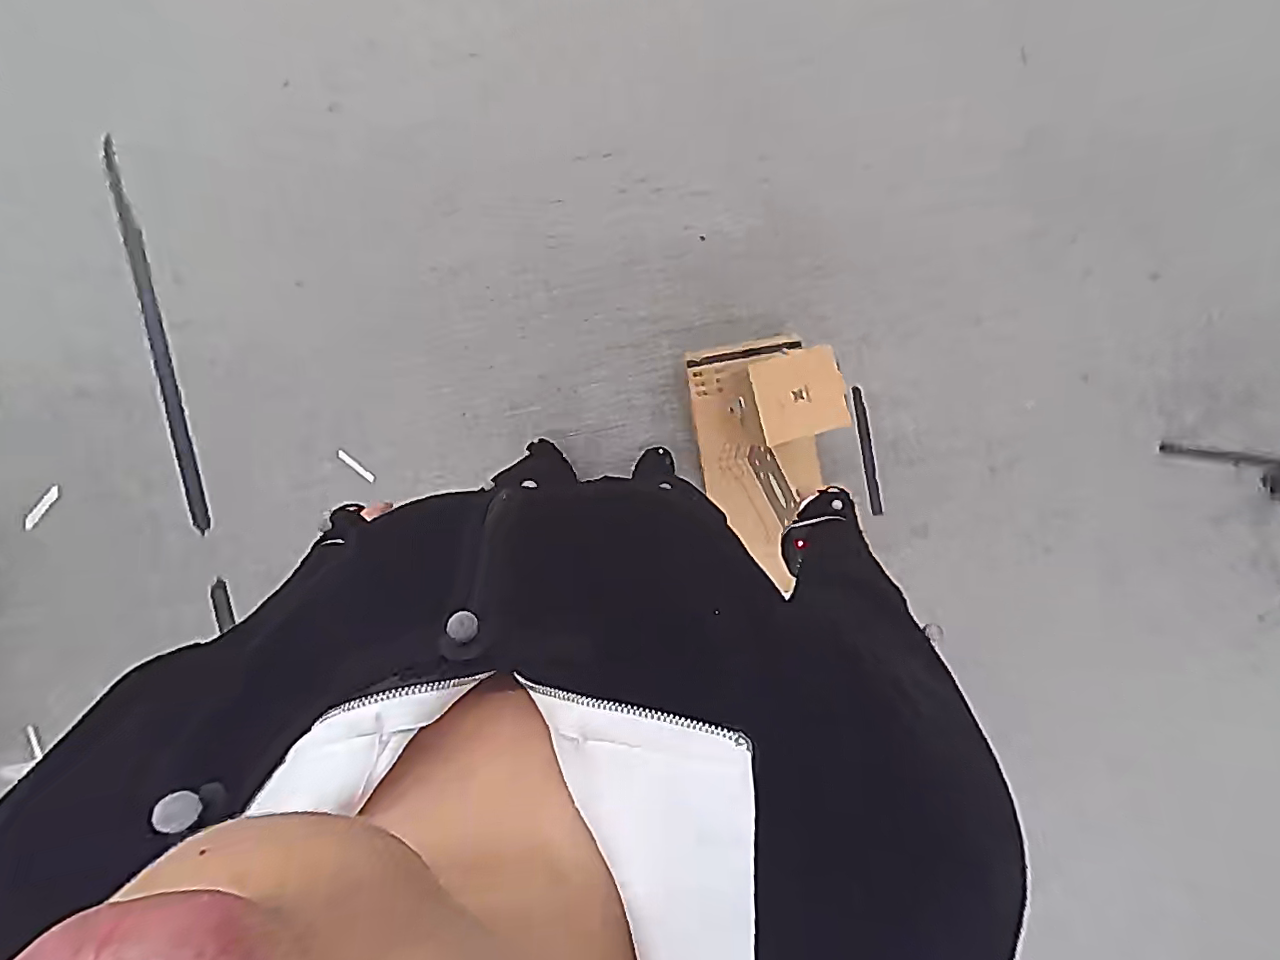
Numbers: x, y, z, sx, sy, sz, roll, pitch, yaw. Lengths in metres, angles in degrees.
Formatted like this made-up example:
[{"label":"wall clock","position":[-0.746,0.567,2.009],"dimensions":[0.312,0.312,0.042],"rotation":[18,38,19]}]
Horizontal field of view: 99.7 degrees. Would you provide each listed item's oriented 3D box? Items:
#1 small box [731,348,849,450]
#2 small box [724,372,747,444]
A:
[{"label":"small box","position":[0.307,-0.167,1.134],"dimensions":[0.179,0.176,0.168],"rotation":[-15,95,0]},{"label":"small box","position":[0.303,-0.178,1.298],"dimensions":[0.179,0.176,0.168],"rotation":[-9,96,0]}]
